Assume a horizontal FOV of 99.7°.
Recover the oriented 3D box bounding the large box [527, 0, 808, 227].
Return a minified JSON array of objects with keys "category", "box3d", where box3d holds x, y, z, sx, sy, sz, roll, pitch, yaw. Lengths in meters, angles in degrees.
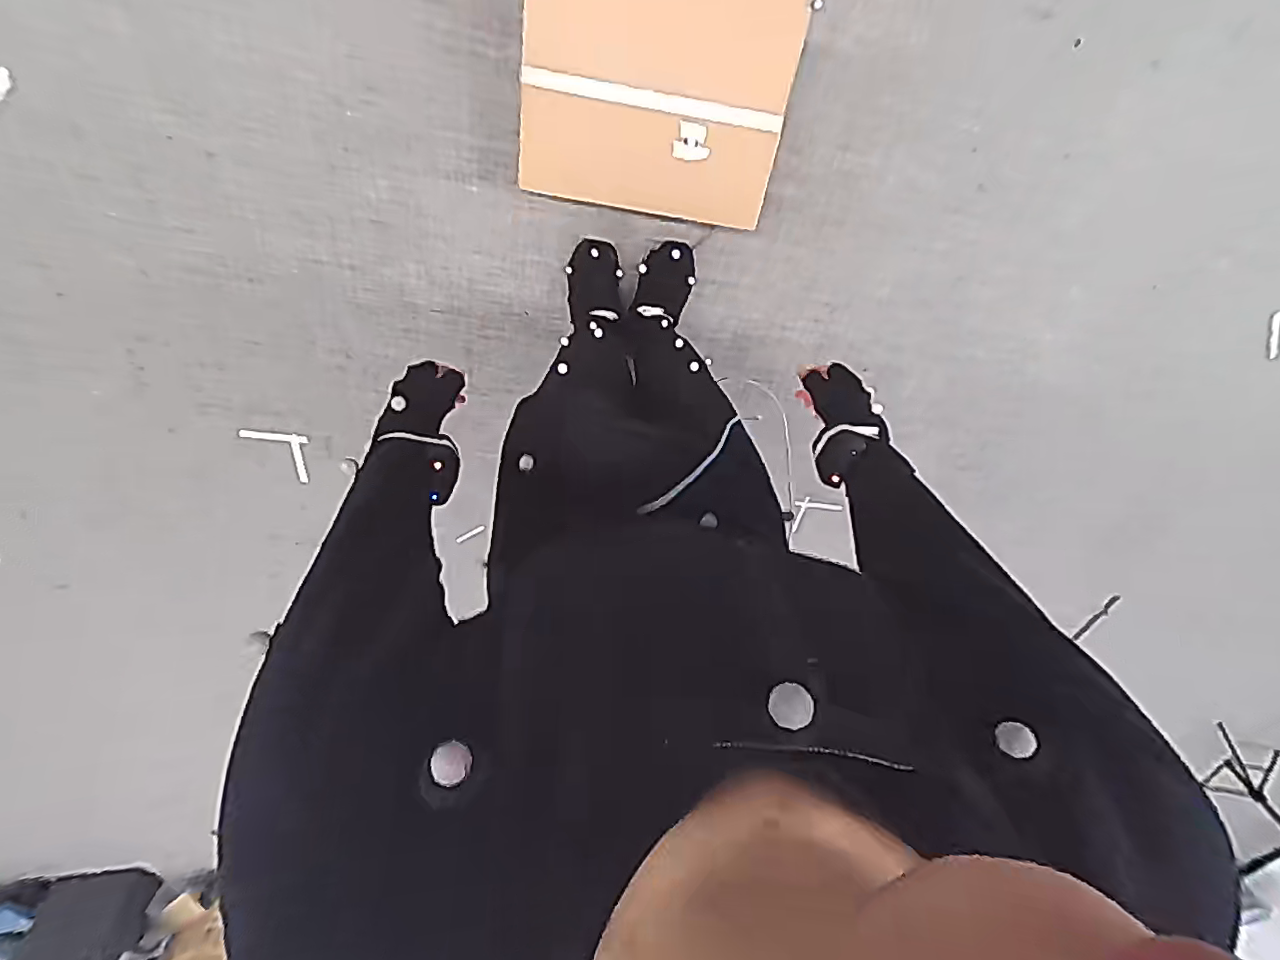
[{"category":"large box","box3d":[0.020,-0.672,0.966,0.408,0.320,0.320,7,125,-7]}]
